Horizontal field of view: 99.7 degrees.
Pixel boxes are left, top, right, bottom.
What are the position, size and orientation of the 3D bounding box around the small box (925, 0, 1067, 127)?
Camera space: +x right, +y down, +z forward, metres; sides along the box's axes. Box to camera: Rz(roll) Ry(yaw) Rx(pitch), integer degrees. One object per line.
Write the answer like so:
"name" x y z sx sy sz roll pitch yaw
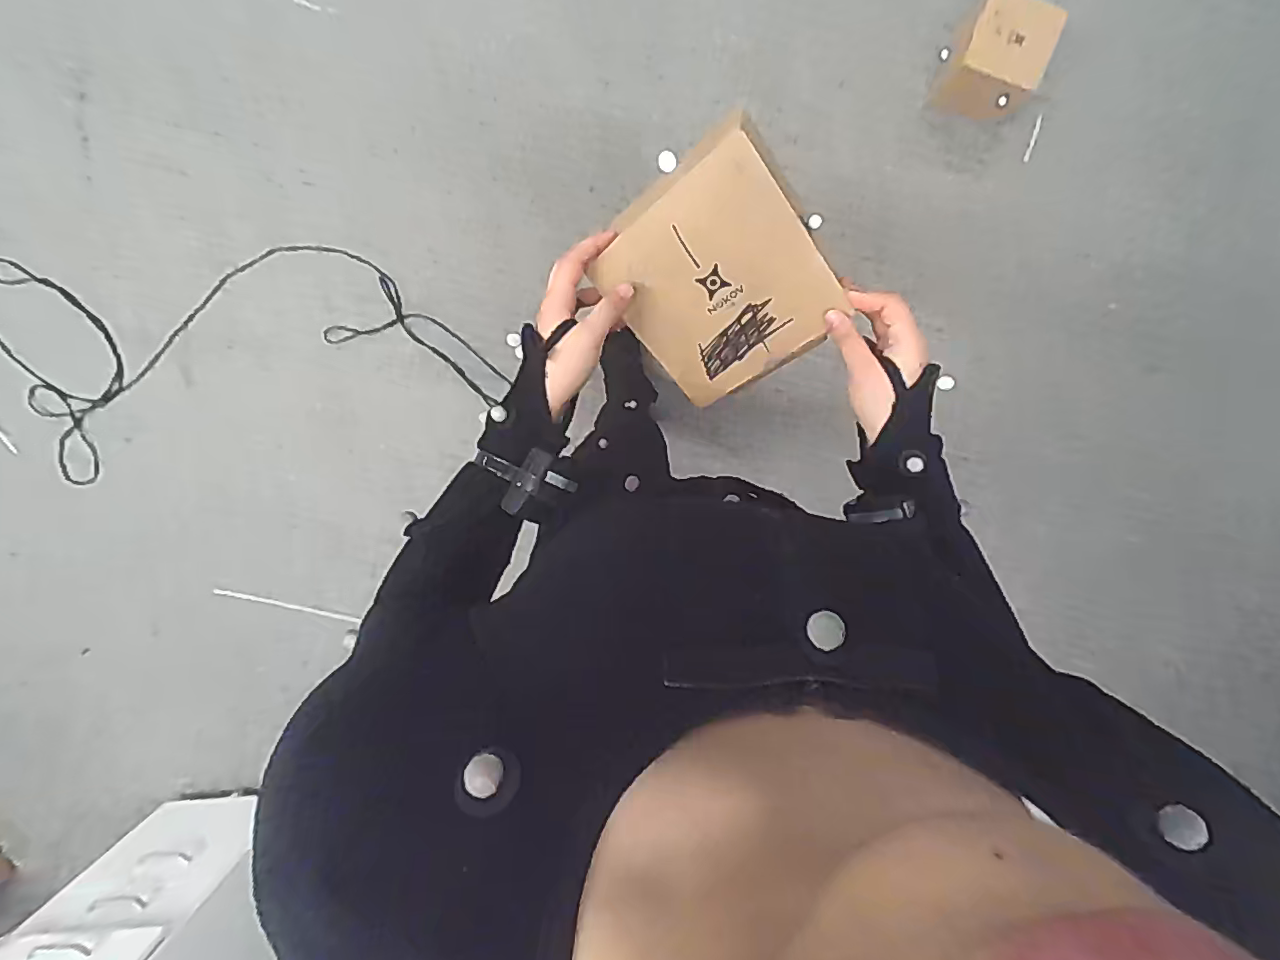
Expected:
"small box" 0.791 -0.937 1.221 0.179 0.176 0.168 19 99 -2
